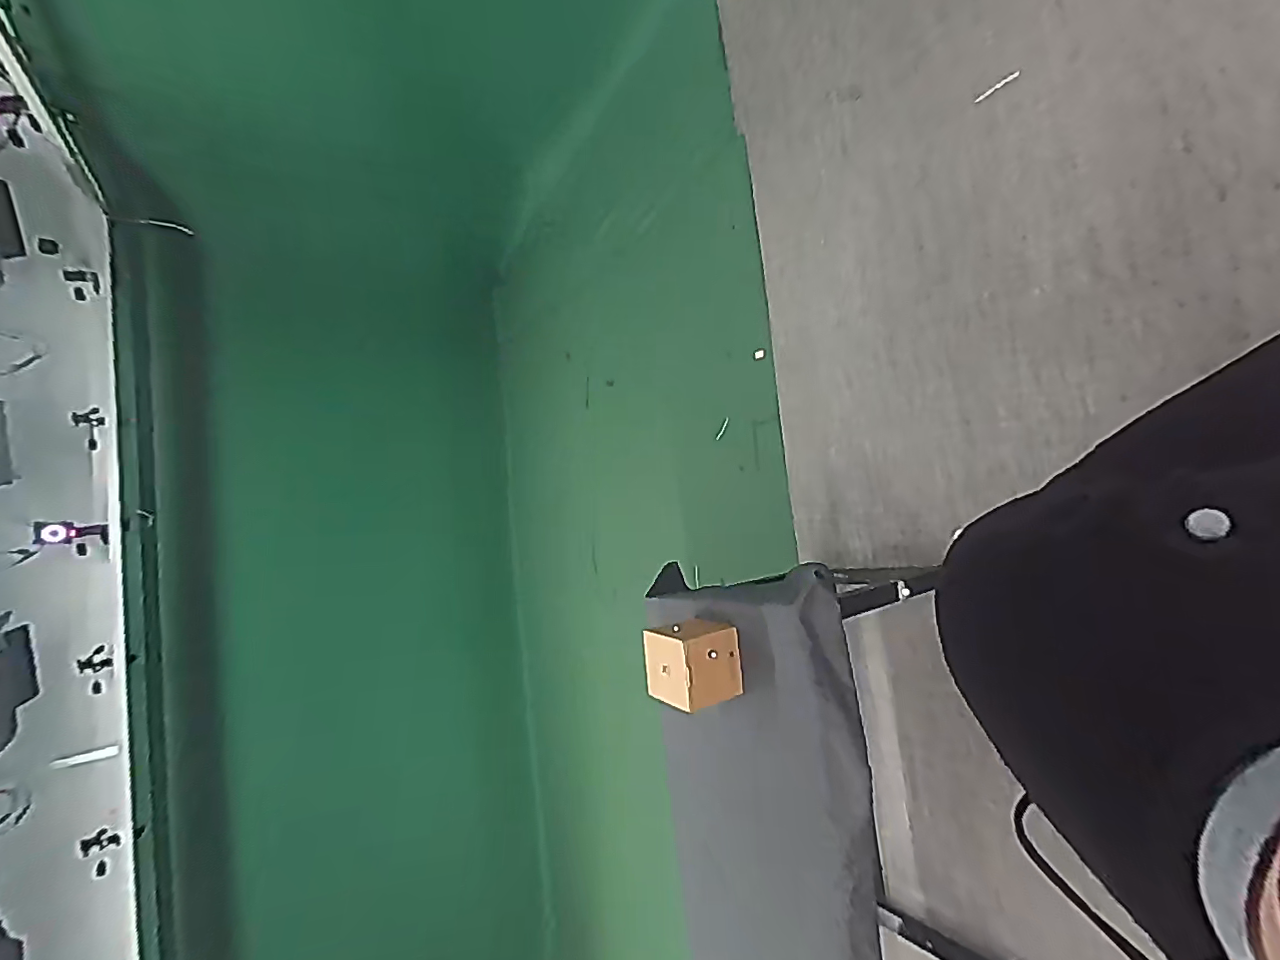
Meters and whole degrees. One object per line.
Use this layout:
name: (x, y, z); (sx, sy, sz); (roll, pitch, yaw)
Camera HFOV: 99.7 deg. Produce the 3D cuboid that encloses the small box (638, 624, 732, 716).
small box: (0.115, 0.460, 1.340); (0.179, 0.176, 0.168); (-11, 82, 58)
